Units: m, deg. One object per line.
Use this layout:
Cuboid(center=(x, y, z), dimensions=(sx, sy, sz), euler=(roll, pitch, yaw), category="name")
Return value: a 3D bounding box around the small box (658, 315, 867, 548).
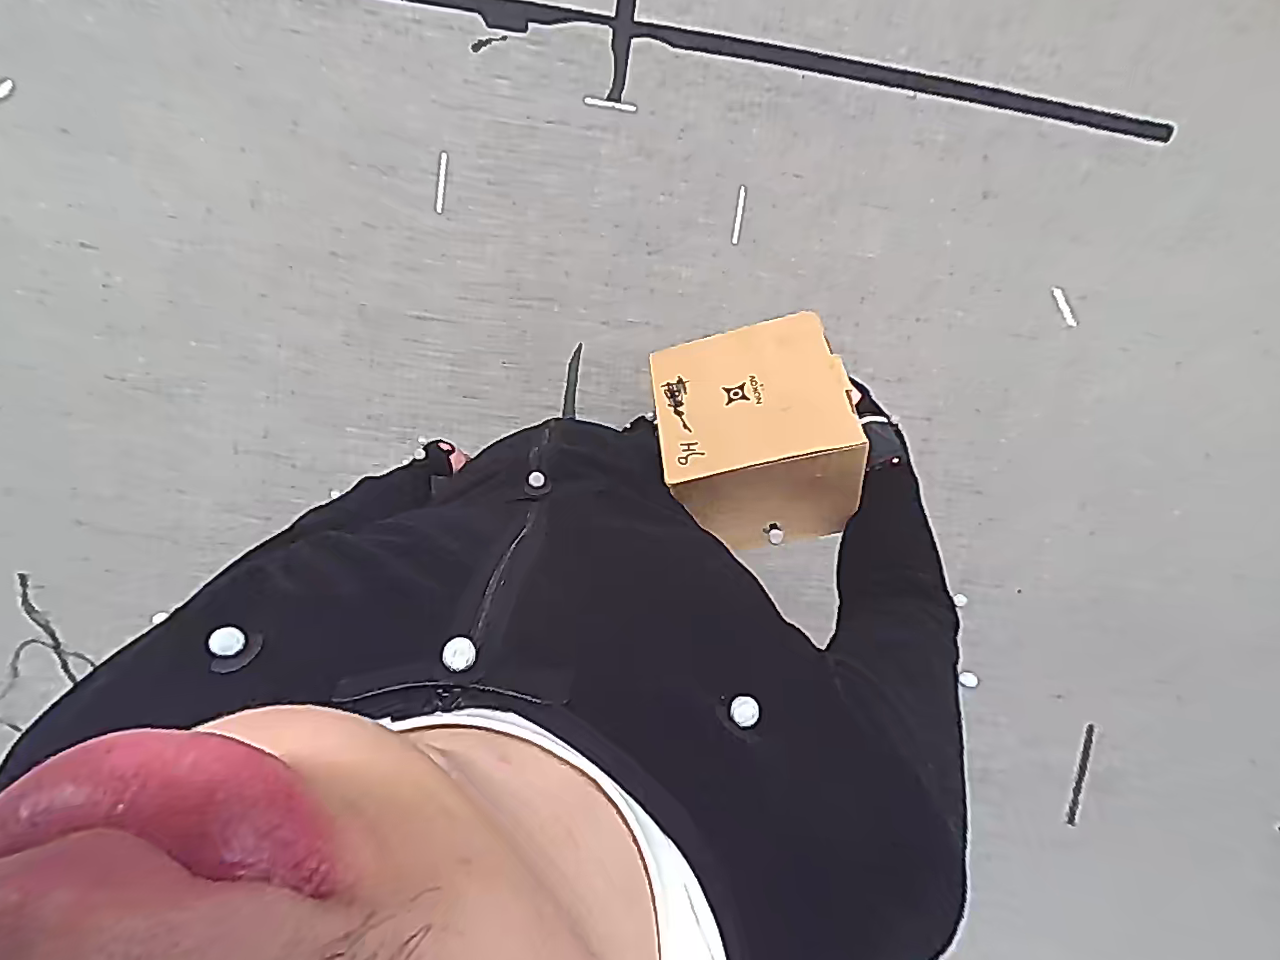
Cuboid(center=(0.127, -0.043, 0.588), dimensions=(0.179, 0.176, 0.168), euler=(-12, 56, 10), category="small box")
